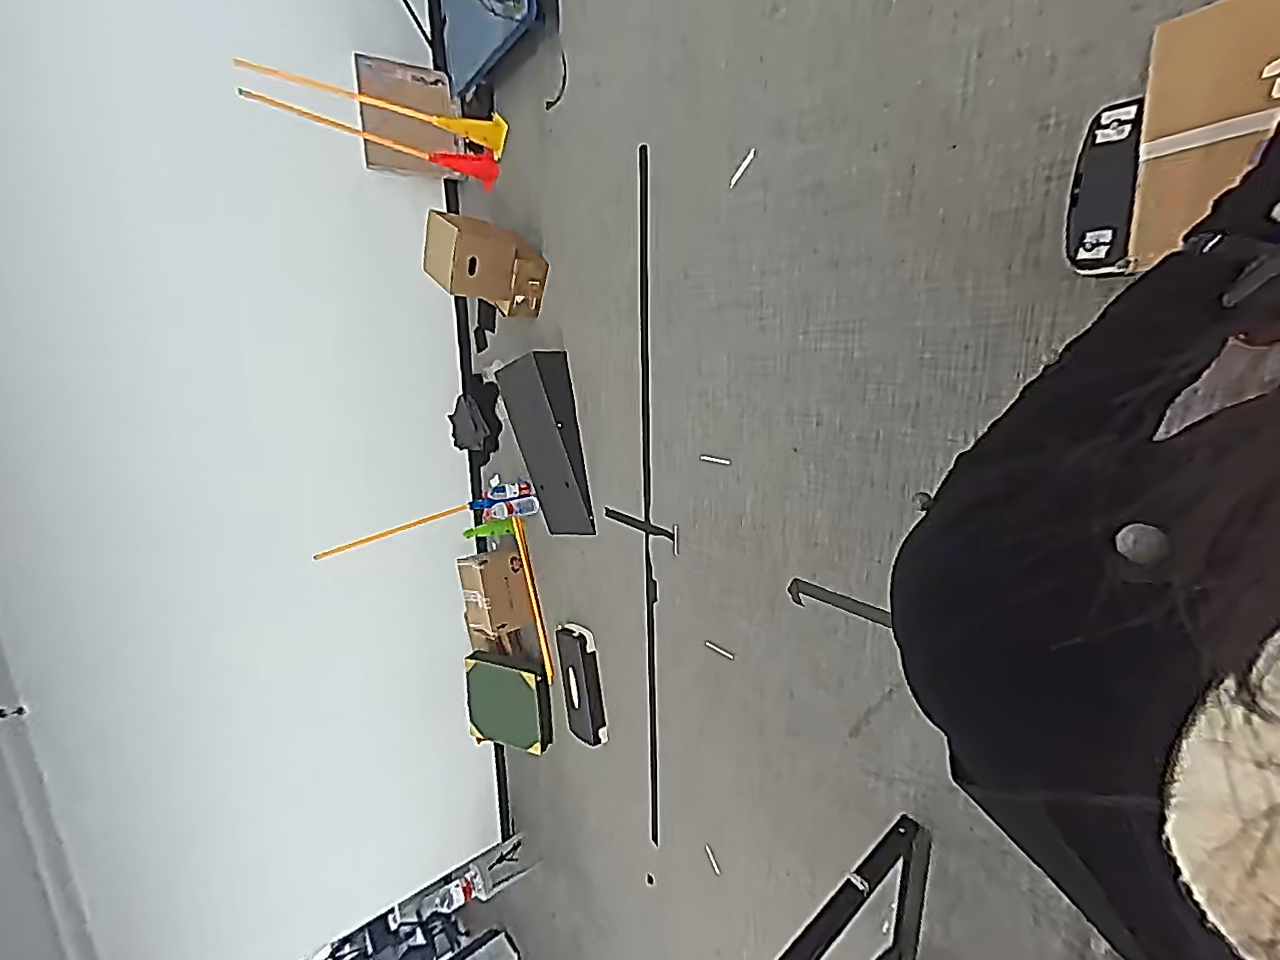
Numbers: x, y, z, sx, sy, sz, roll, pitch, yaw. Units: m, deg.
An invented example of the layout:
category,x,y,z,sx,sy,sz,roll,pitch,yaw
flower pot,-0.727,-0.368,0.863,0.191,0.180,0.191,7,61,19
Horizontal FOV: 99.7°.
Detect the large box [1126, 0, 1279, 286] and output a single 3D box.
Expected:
category,x,y,z,sx,sy,sz,roll,pitch,yaw
large box,0.918,-0.438,0.669,0.408,0.320,0.320,11,107,51
